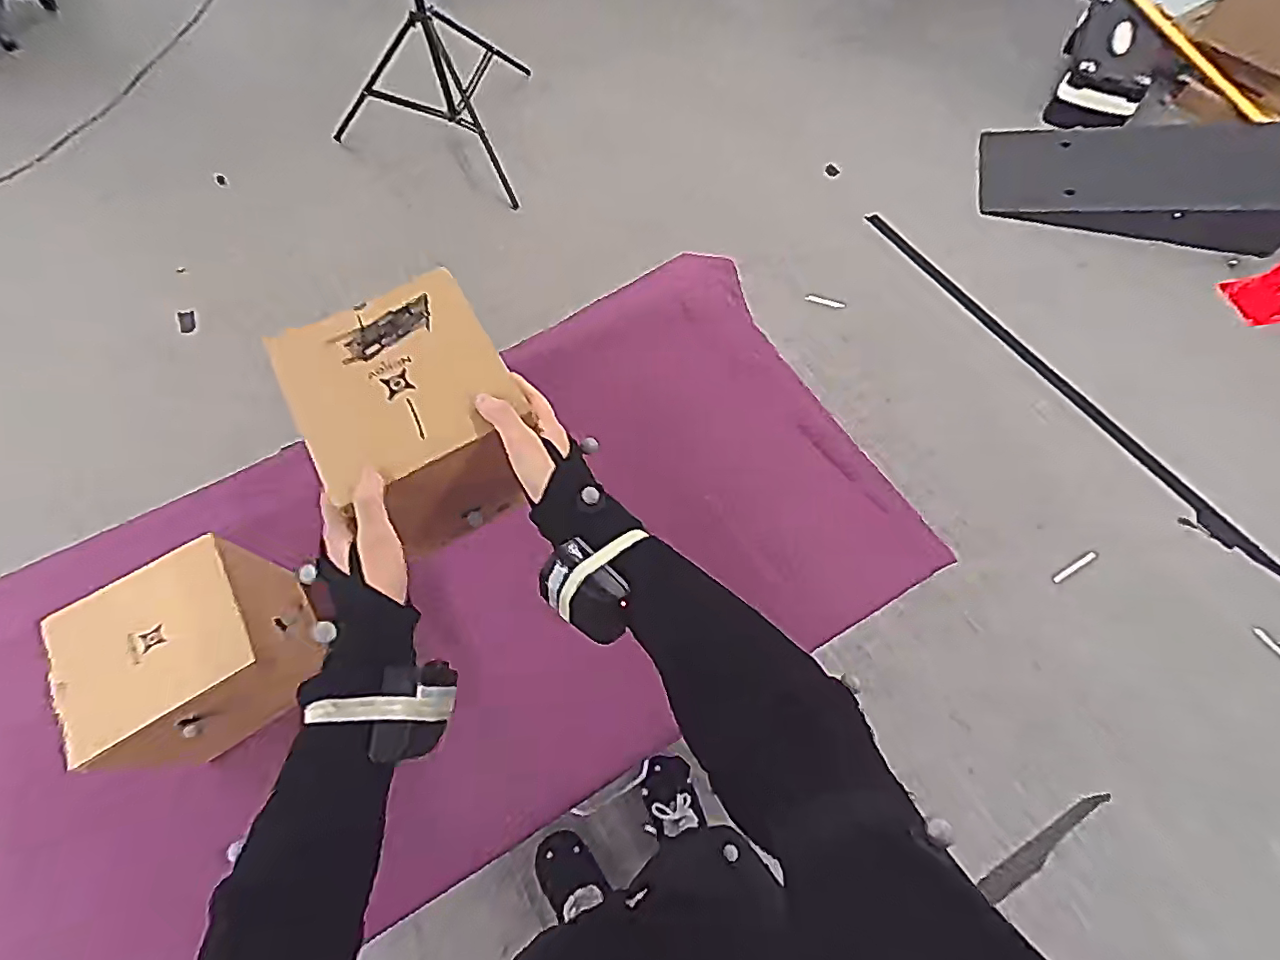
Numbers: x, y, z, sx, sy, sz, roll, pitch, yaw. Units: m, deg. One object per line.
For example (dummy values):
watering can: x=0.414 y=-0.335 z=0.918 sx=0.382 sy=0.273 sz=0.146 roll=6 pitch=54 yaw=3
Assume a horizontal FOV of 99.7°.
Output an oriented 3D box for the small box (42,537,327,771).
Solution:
small box: x=-0.495 y=0.197 z=0.617 sx=0.179 sy=0.176 sz=0.168 roll=-32 pitch=69 yaw=-13

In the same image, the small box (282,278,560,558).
small box: x=-0.195 y=-0.050 z=0.524 sx=0.168 sy=0.176 sz=0.179 roll=-29 pitch=71 yaw=-11
